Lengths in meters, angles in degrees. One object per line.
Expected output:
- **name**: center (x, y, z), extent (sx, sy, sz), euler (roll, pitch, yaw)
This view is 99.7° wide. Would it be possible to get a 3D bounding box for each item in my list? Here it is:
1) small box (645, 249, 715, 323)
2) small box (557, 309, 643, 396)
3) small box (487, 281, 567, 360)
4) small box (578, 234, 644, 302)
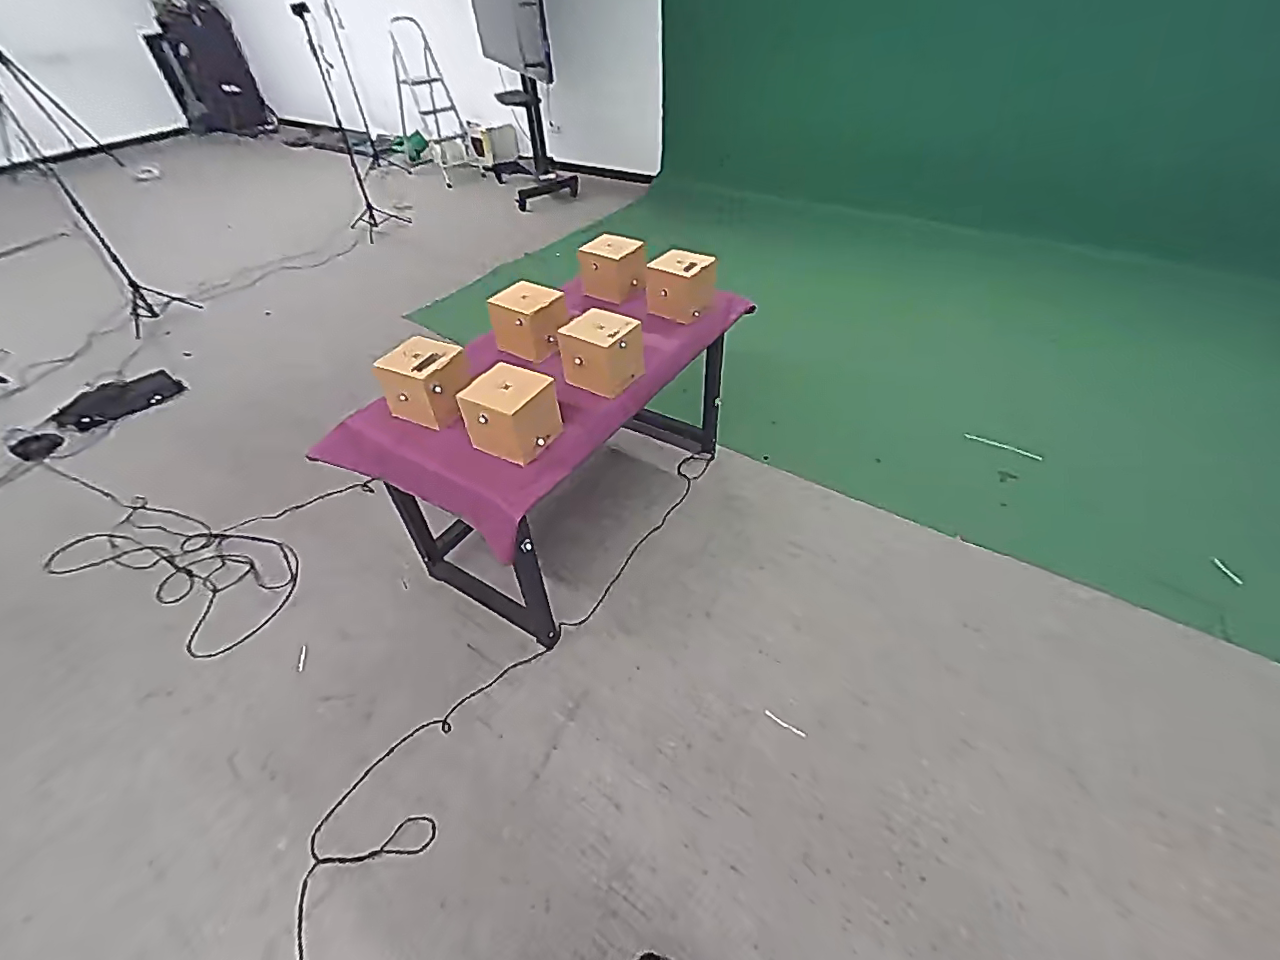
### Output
- **small box**: center (0.138, -0.651, 1.822), extent (0.179, 0.176, 0.168), euler (26, 52, 29)
- **small box**: center (-0.109, -0.361, 1.541), extent (0.179, 0.176, 0.168), euler (24, 51, 27)
- **small box**: center (-0.346, -0.498, 1.695), extent (0.179, 0.176, 0.168), euler (25, 50, 23)
- **small box**: center (-0.101, -0.762, 1.948), extent (0.179, 0.176, 0.168), euler (25, 52, 25)
